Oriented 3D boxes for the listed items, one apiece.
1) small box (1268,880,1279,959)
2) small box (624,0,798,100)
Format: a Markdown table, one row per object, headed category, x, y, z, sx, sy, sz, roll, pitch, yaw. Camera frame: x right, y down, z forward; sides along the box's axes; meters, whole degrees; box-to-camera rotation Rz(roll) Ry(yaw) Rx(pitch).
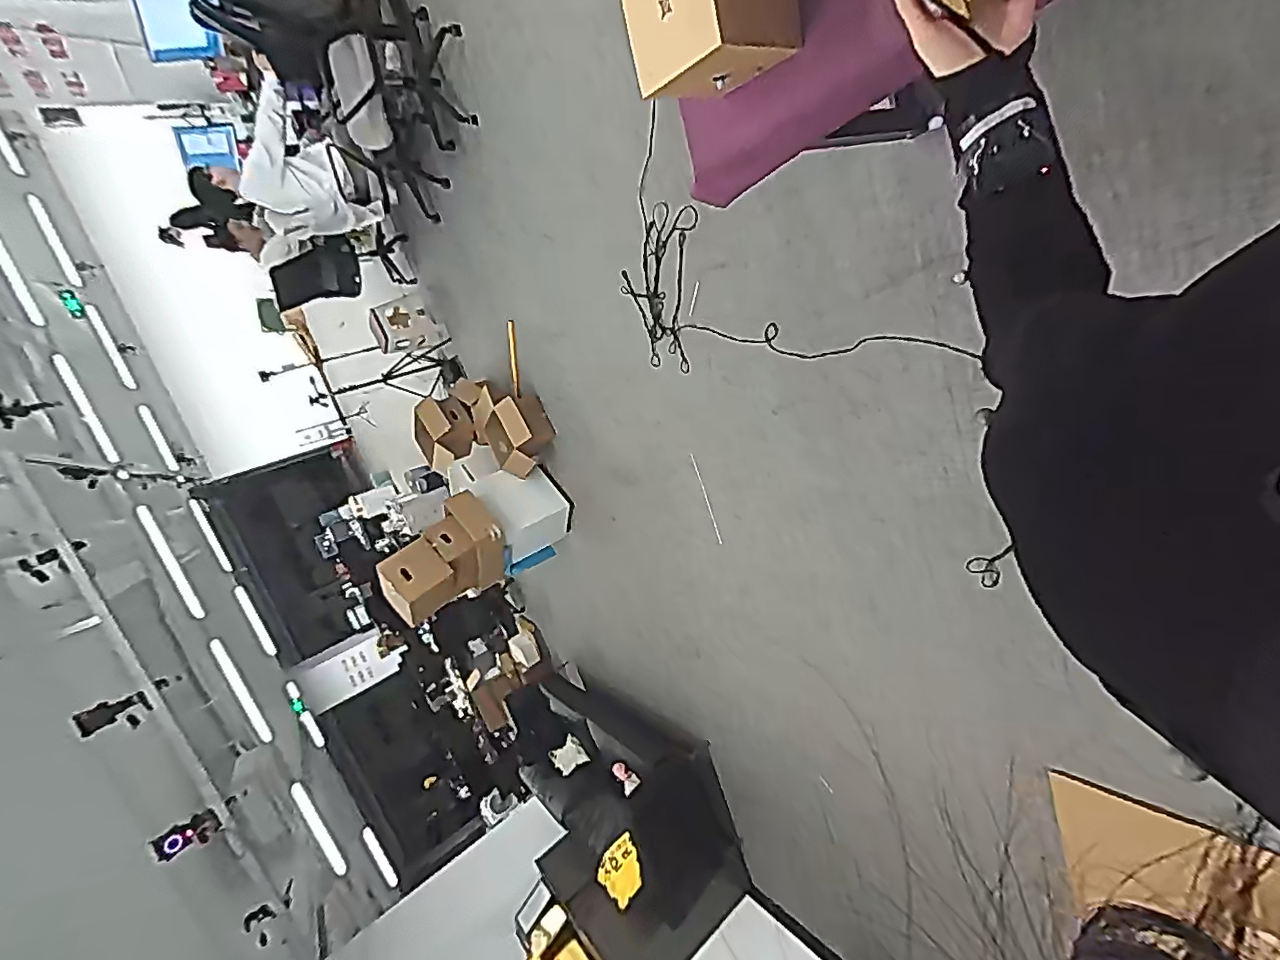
| category | x | y | z | sx | sy | sz | roll | pitch | yaw |
| --- | --- | --- | --- | --- | --- | --- | --- | --- | --- |
| small box | 1.565 | 1.068 | 1.224 | 0.168 | 0.176 | 0.179 | -4 | 110 | 57 |
| small box | 0.098 | -0.659 | 0.745 | 0.168 | 0.176 | 0.179 | 12 | 123 | 52 |
